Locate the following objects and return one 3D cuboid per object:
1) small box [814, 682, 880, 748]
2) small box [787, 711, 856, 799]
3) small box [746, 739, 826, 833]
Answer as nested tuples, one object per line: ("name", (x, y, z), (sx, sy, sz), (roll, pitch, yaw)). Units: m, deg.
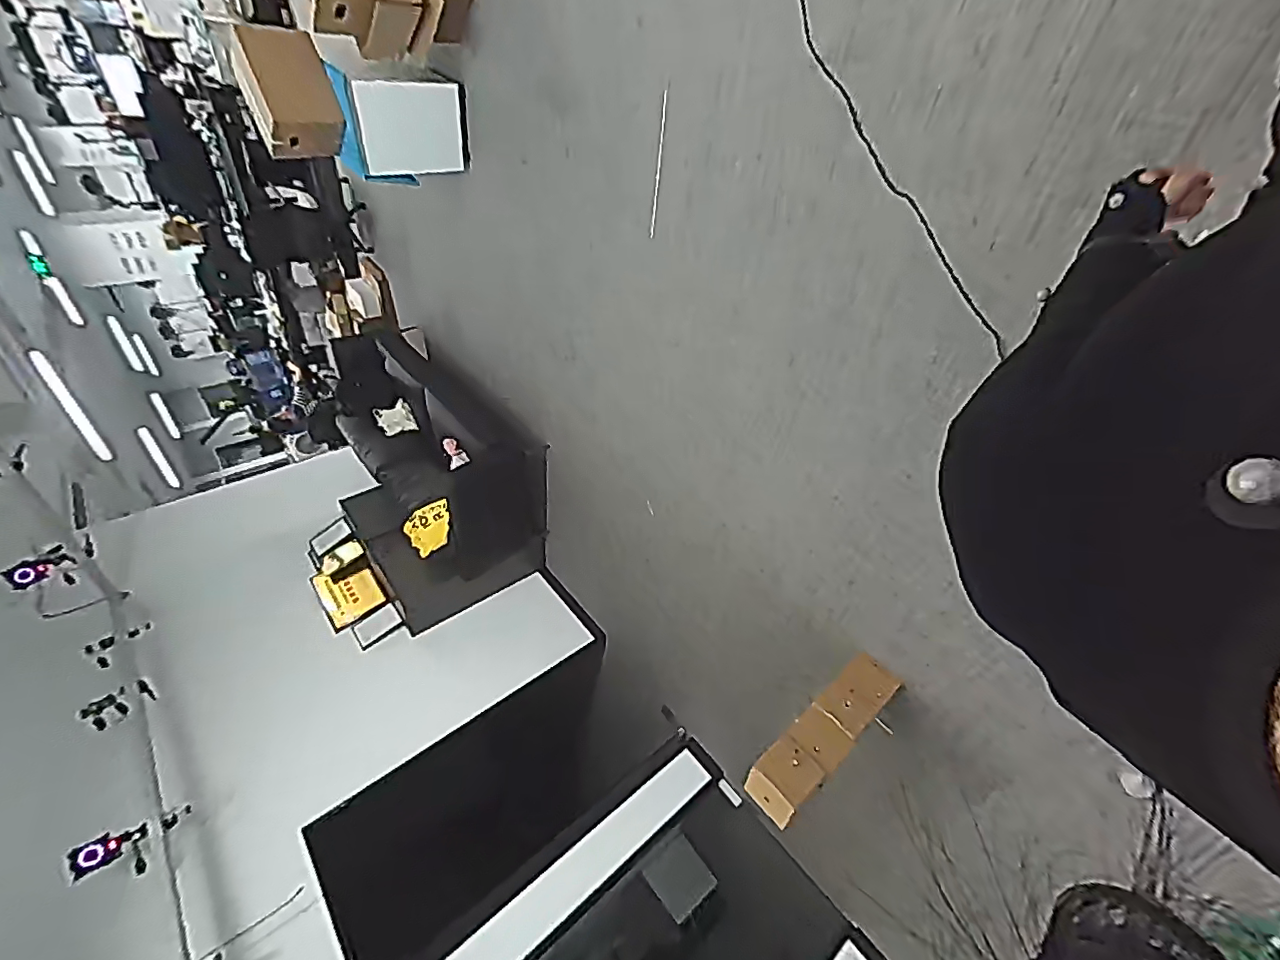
("small box", (0.720, 0.858, 1.921), (0.168, 0.176, 0.179), (39, 139, 35))
("small box", (0.599, 0.926, 1.832), (0.179, 0.176, 0.168), (40, 140, 34))
("small box", (0.472, 0.984, 1.745), (0.168, 0.176, 0.179), (38, 139, 35))
